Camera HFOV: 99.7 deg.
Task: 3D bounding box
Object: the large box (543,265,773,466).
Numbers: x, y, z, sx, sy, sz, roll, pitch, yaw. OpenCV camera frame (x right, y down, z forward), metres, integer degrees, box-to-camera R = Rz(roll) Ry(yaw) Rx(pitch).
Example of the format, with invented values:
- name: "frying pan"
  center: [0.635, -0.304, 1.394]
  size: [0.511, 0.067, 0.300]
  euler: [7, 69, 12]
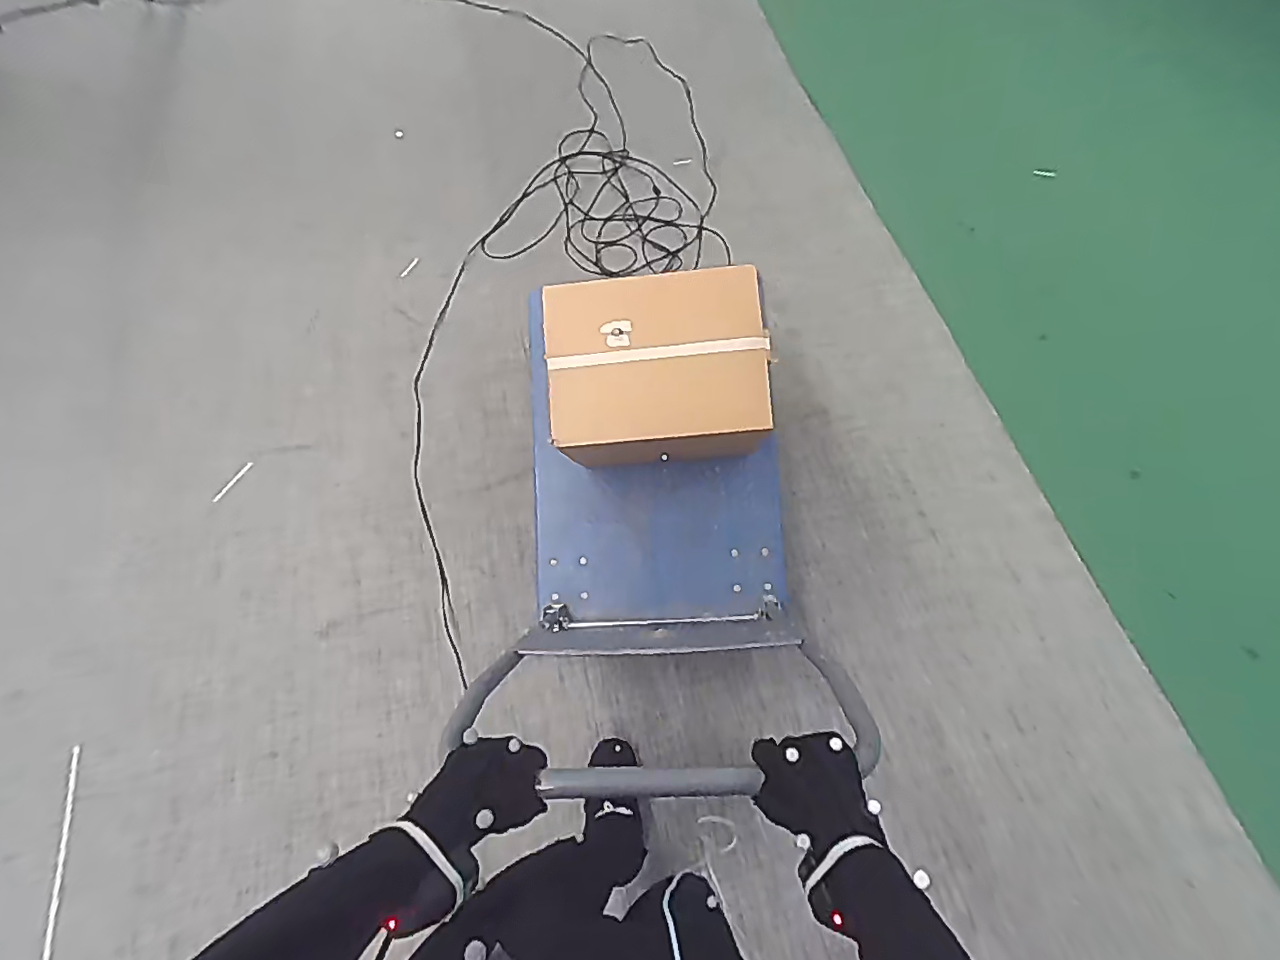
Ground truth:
- name: "large box"
  center: [0.042, -0.212, 1.142]
  size: [0.408, 0.320, 0.320]
  euler: [-6, 84, 5]
